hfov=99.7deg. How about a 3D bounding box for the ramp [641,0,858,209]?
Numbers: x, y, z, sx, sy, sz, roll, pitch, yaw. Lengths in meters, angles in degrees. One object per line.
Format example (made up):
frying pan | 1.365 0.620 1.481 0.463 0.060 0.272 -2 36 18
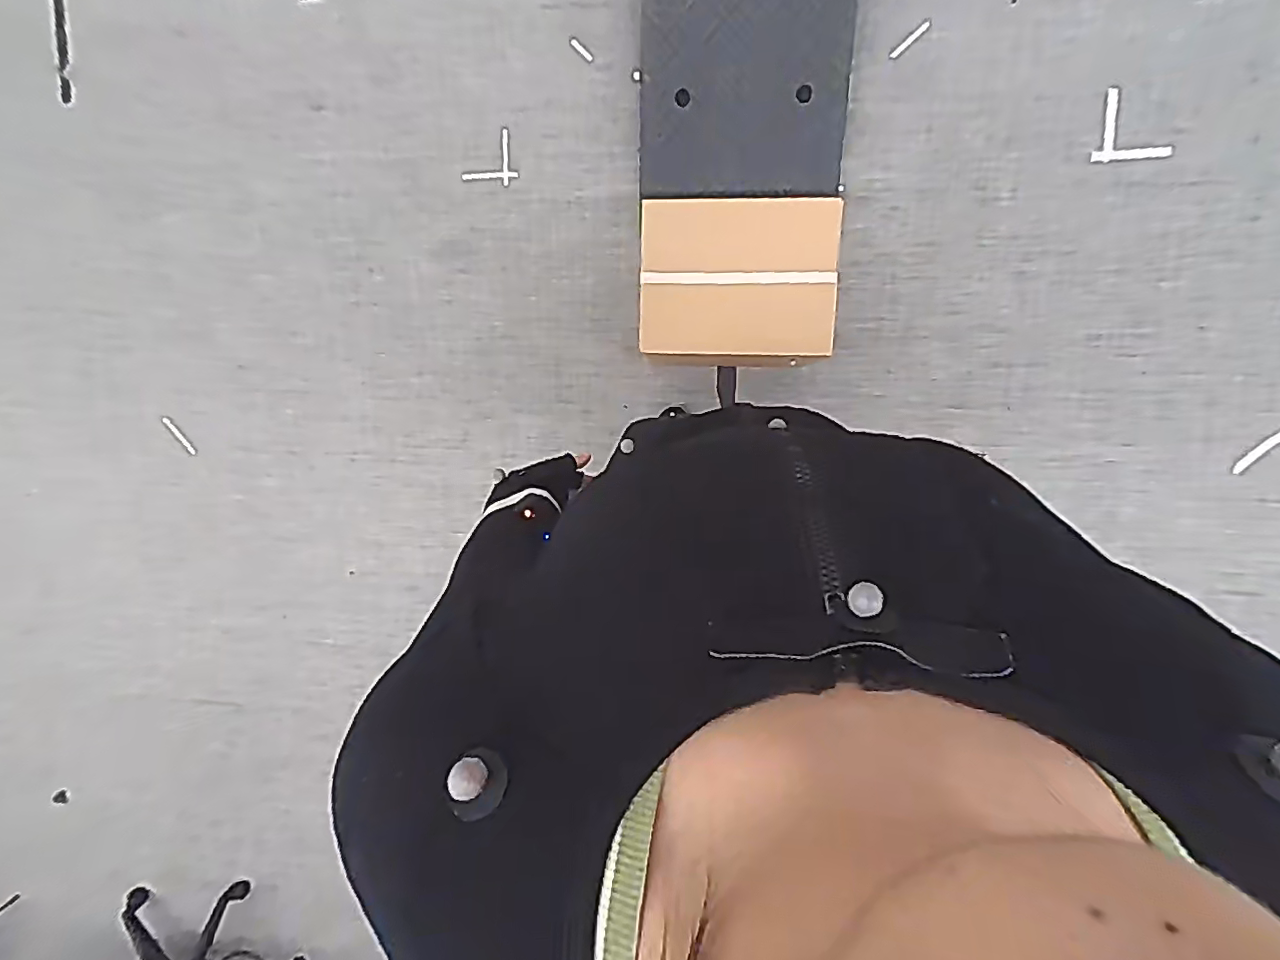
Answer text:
ramp | 0.248 -1.129 1.223 0.509 0.206 0.991 0 99 5

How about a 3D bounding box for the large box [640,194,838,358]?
large box | 0.217 -0.452 1.274 0.408 0.320 0.320 2 98 5
